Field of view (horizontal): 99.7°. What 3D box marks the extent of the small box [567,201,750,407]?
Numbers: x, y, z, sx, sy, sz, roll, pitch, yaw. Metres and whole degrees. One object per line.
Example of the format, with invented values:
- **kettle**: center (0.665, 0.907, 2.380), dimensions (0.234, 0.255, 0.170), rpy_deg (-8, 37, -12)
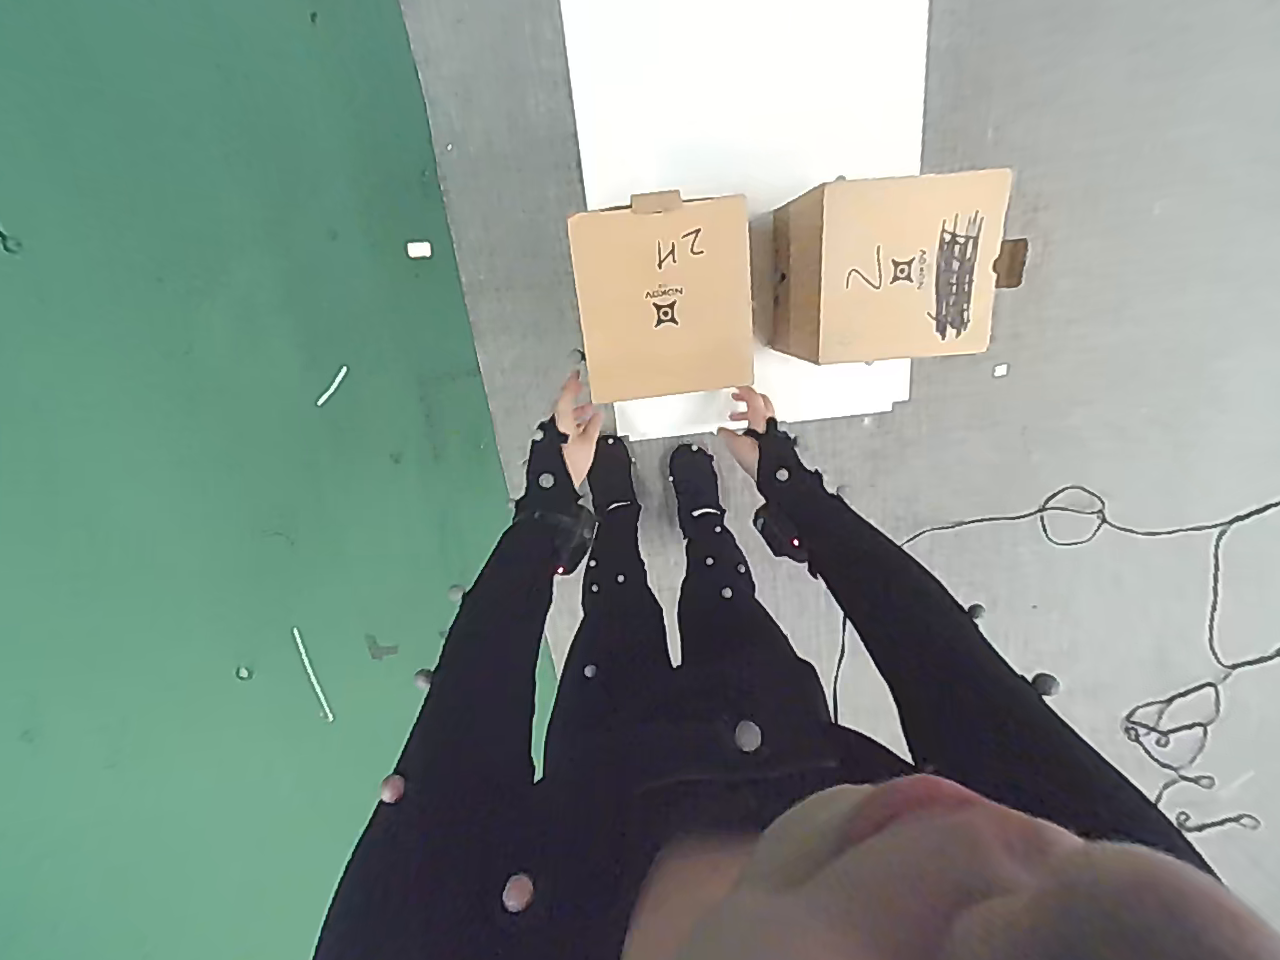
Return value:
- **small box**: center (0.017, -0.188, 0.587), dimensions (0.168, 0.176, 0.179), rpy_deg (-7, 109, -3)
